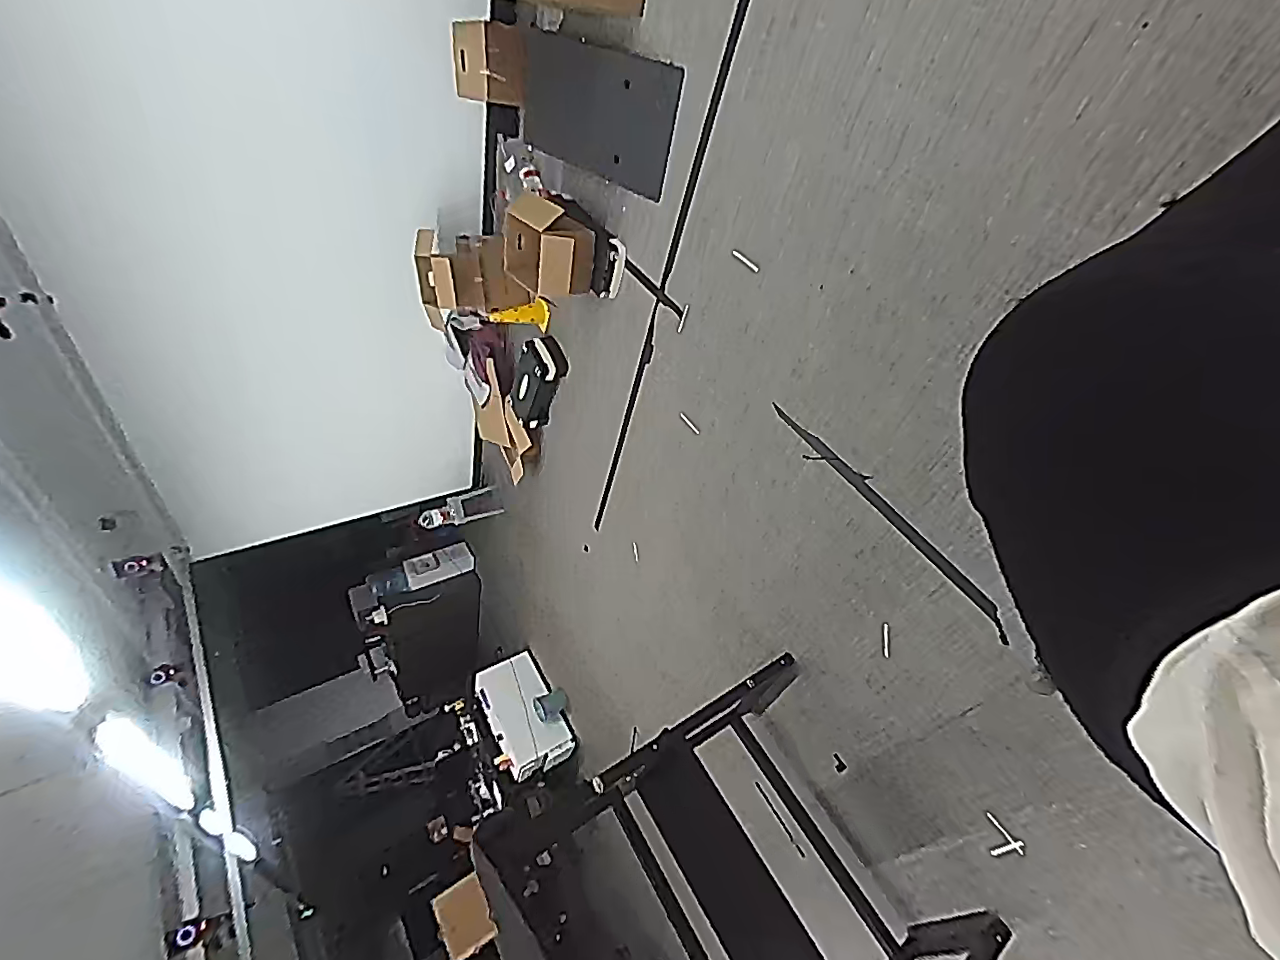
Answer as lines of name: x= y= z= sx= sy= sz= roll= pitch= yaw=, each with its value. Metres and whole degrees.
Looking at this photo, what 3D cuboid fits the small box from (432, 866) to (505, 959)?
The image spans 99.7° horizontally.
small box: x=-0.532 y=1.351 z=1.690 sx=0.168 sy=0.176 sz=0.179 roll=49 pitch=143 yaw=31
